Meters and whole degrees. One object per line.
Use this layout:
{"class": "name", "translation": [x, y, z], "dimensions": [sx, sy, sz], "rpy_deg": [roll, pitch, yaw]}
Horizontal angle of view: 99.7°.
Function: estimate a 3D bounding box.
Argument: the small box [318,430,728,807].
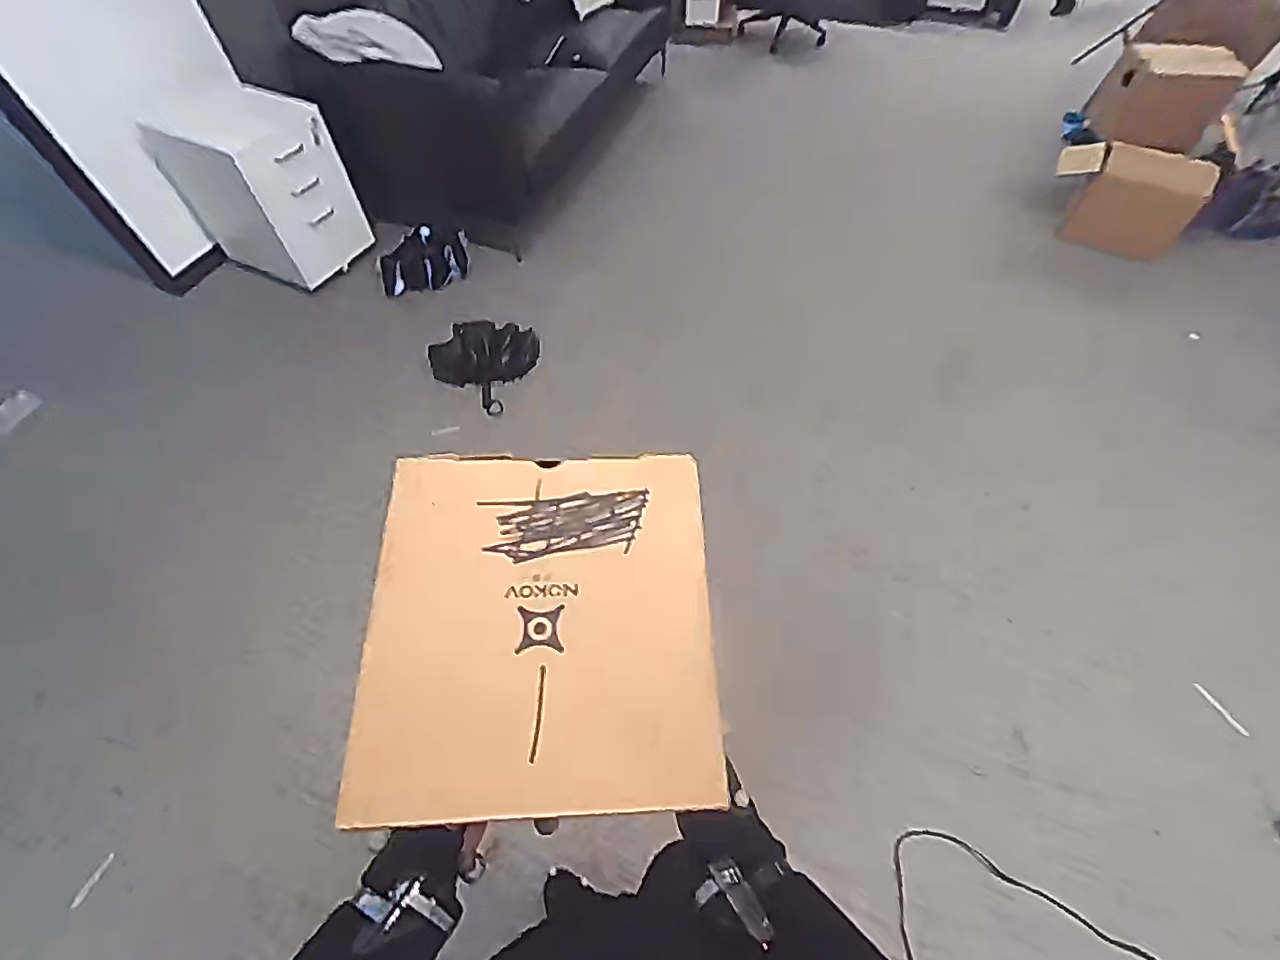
{"class": "small box", "translation": [-0.052, 0.088, 0.324], "dimensions": [0.168, 0.176, 0.179], "rpy_deg": [0, 63, -4]}
